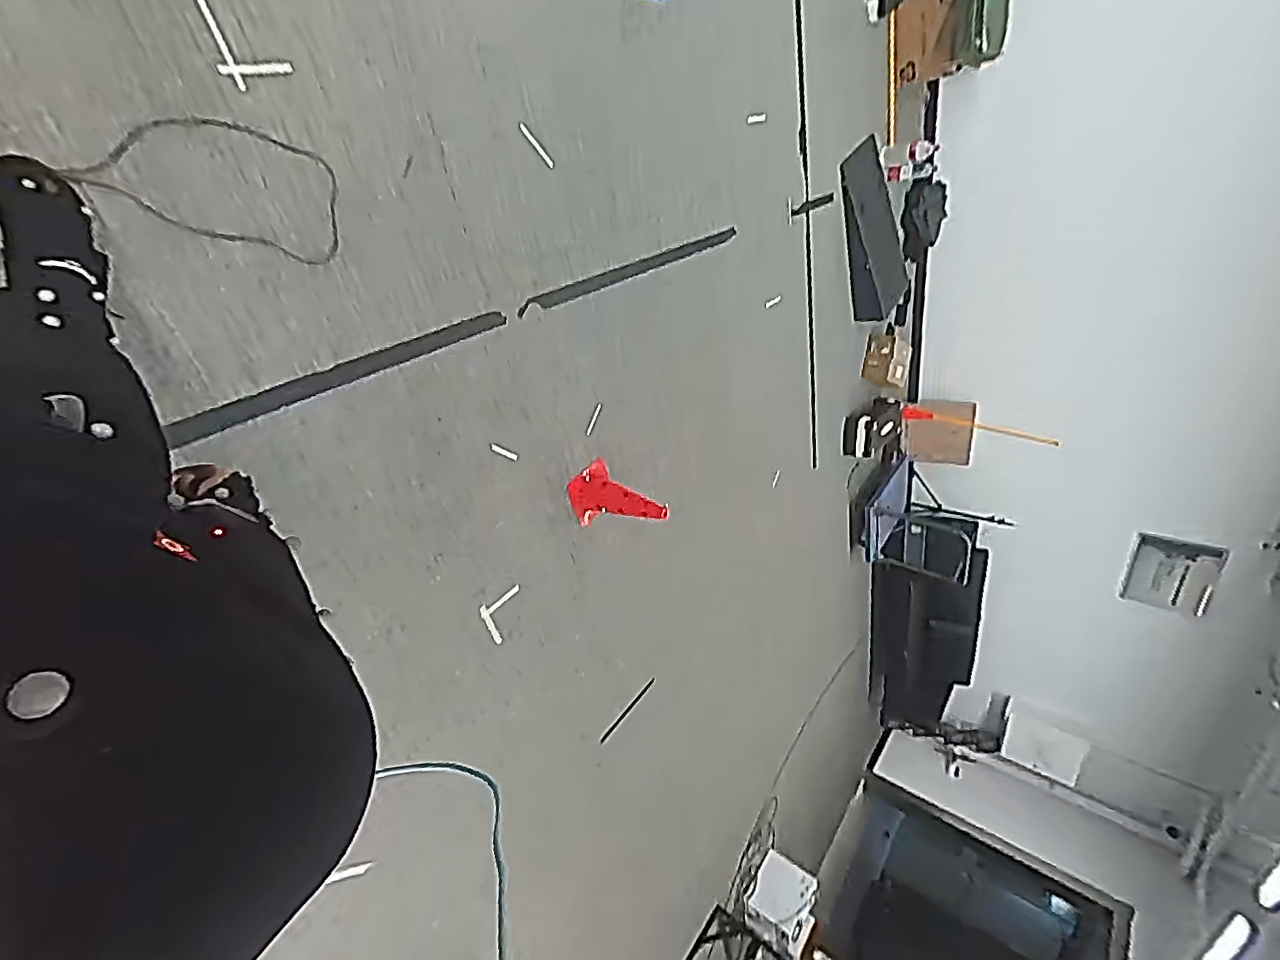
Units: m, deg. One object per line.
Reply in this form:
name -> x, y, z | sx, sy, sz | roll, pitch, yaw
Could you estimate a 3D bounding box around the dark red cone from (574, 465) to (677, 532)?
dark red cone -> -0.032, 0.099, 1.890 | 0.202, 0.394, 0.201 | -44, 131, -33
